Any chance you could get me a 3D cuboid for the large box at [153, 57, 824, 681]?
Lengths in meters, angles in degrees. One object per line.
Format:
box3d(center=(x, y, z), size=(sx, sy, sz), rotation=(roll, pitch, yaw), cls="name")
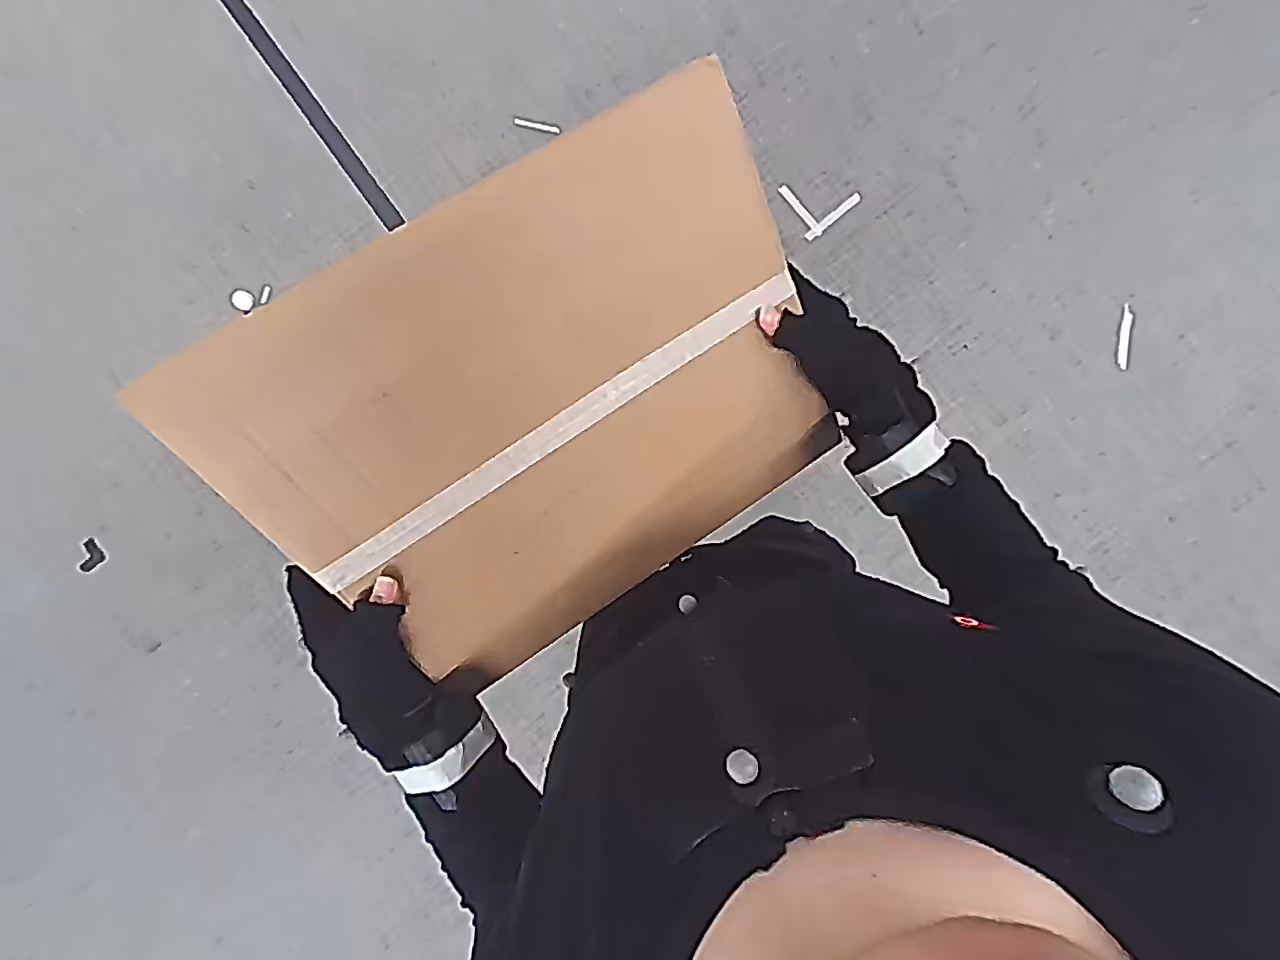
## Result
box3d(center=(-0.111, -0.103, 0.533), size=(0.408, 0.320, 0.320), rotation=(-34, 120, -6), cls="large box")
